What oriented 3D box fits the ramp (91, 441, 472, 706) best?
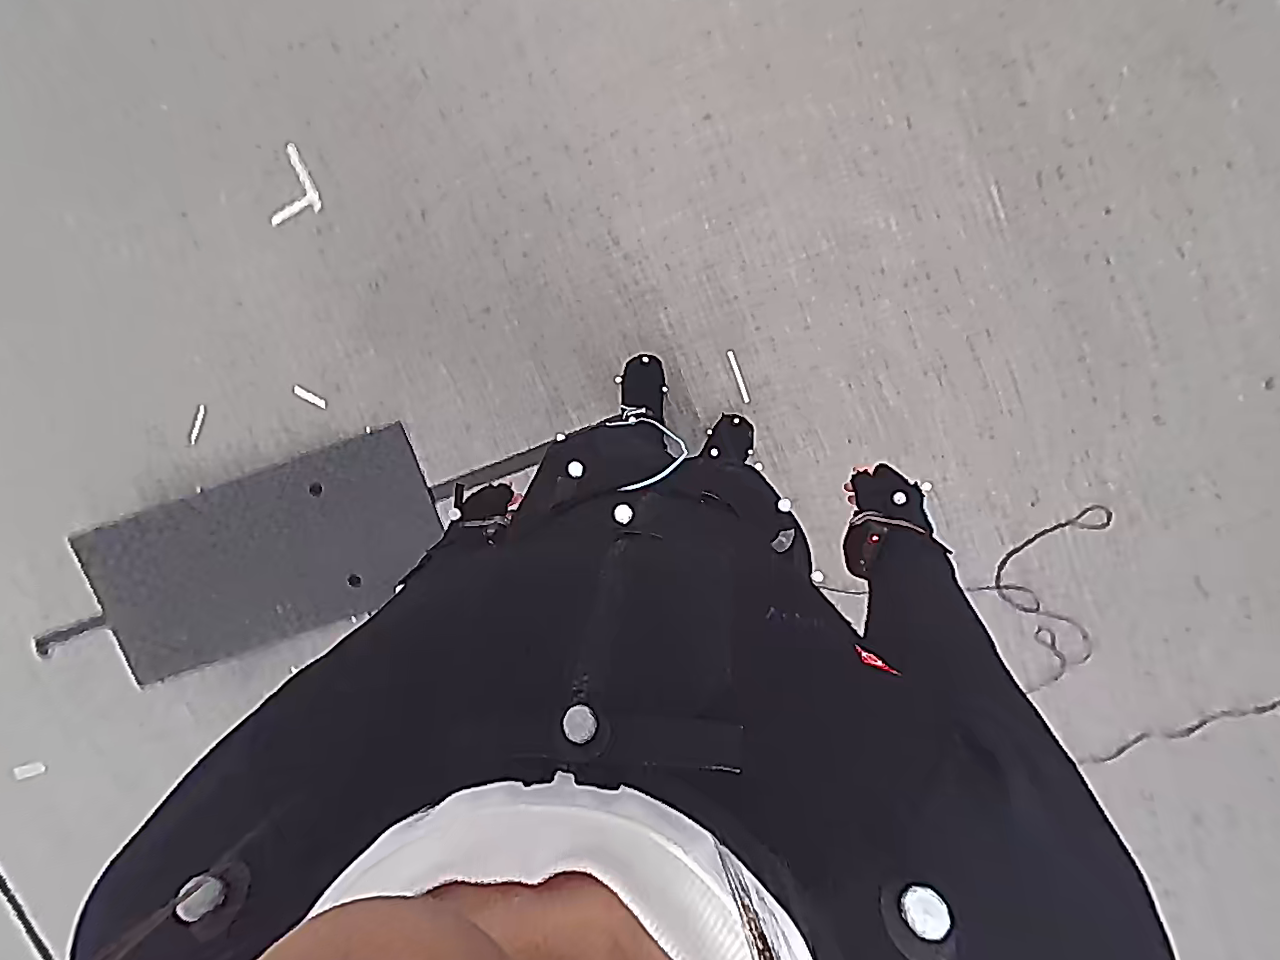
[{"bbox_3d":[-1.041,0.274,1.583,0.991,0.206,0.509,-21,94,11],"label":"ramp"}]
